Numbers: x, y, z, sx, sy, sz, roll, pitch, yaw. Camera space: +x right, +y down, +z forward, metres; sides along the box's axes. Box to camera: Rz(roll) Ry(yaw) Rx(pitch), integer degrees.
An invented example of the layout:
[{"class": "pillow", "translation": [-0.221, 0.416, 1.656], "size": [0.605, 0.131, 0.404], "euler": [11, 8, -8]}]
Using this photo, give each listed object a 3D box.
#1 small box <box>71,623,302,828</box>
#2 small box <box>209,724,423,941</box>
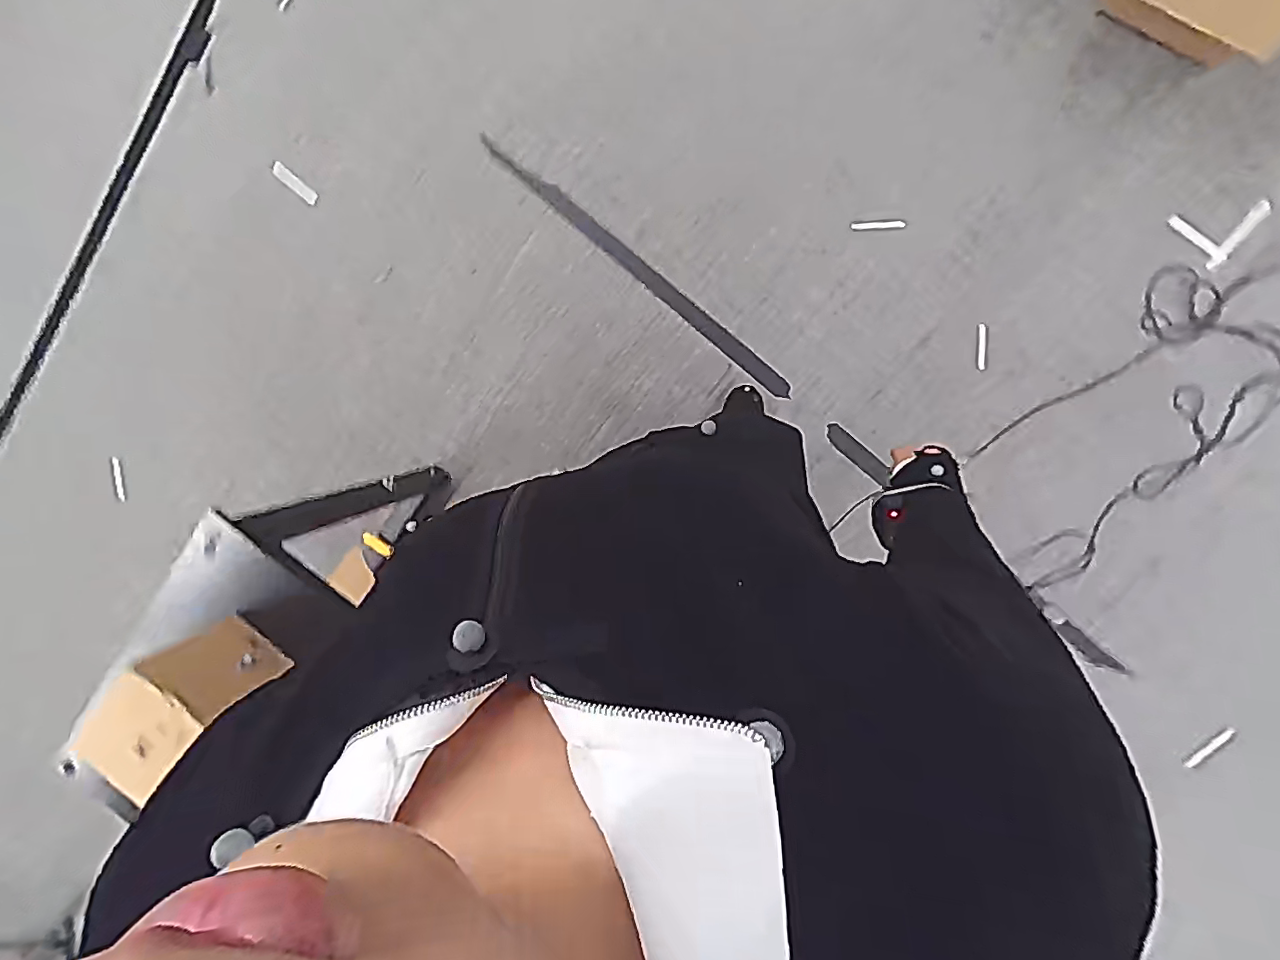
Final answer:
[{"class": "small box", "translation": [-0.651, 0.349, 0.798], "size": [0.168, 0.176, 0.179], "euler": [40, 101, -1]}, {"class": "small box", "translation": [-0.463, 0.505, 0.801], "size": [0.179, 0.176, 0.168], "euler": [40, 101, 0]}]
